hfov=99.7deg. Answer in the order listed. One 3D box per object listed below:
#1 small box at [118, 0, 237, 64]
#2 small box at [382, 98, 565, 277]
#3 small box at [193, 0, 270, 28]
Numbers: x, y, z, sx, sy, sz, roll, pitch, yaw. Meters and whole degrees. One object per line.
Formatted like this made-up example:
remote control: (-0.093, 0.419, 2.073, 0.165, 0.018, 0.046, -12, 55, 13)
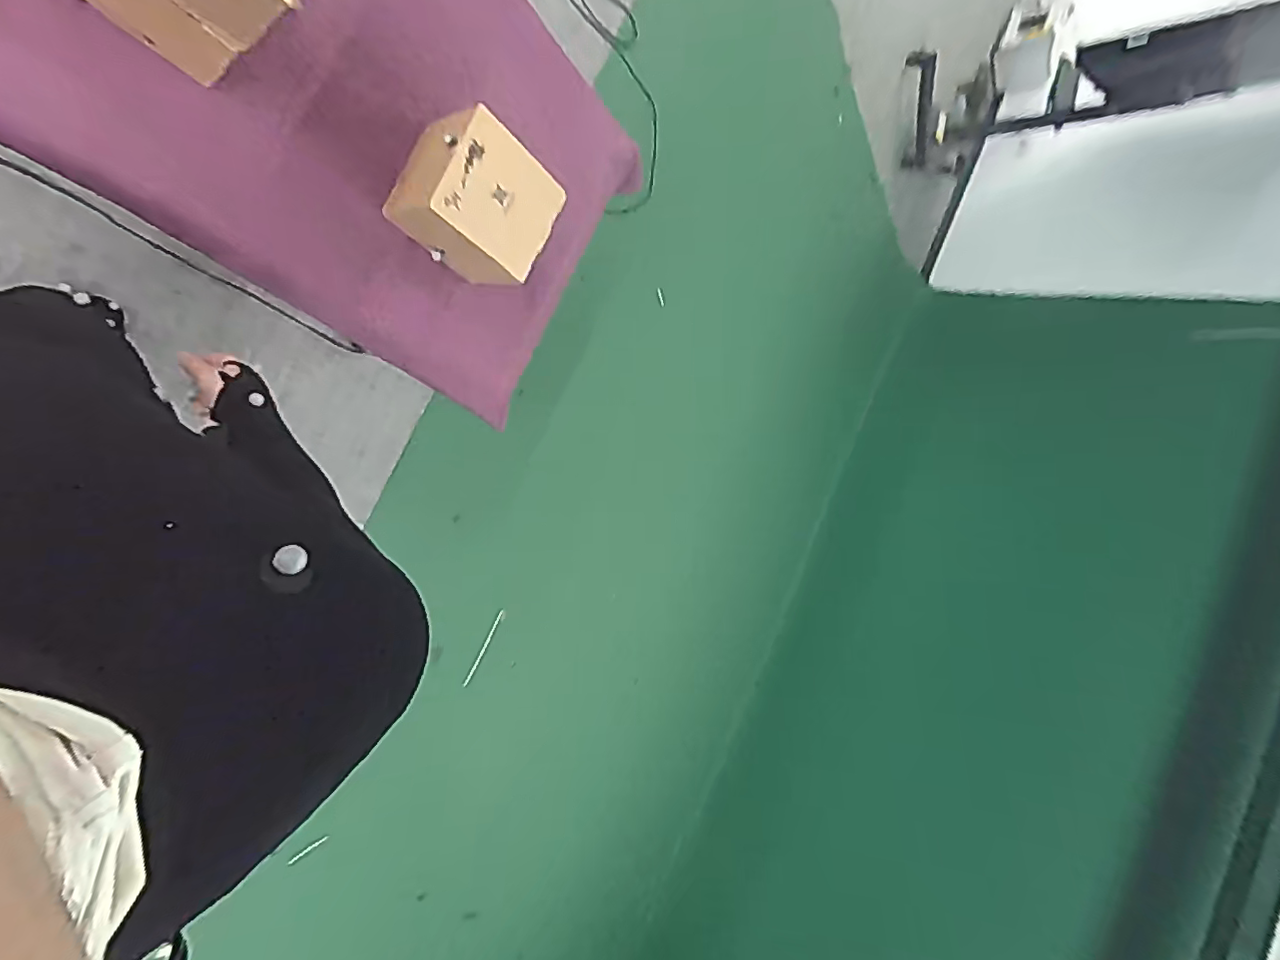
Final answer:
small box: (-0.478, -0.572, 0.543, 0.168, 0.176, 0.179, 29, 83, -49)
small box: (-0.258, -0.440, 0.837, 0.179, 0.176, 0.168, 32, 82, -49)
small box: (-0.364, -0.525, 0.437, 0.179, 0.176, 0.168, 30, 84, -50)
